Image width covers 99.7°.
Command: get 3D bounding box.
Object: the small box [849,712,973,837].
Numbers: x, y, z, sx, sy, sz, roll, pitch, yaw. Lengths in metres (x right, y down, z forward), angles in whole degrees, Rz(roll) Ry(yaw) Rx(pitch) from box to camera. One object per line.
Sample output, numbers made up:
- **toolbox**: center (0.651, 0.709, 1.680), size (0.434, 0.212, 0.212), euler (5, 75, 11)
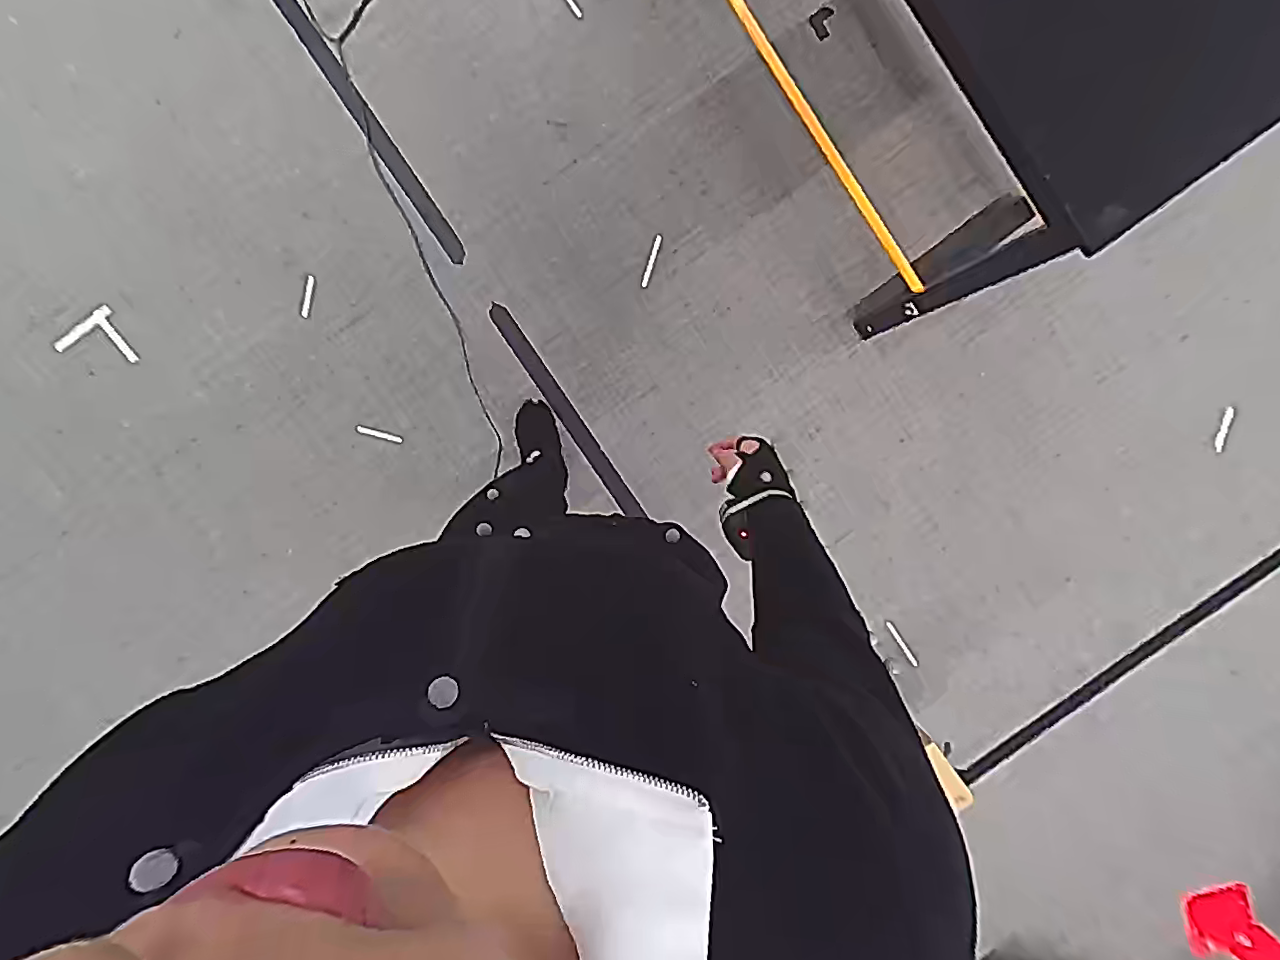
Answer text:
- **small box**: center (0.640, 0.691, 1.301), size (0.168, 0.176, 0.179), euler (-36, 94, 1)
